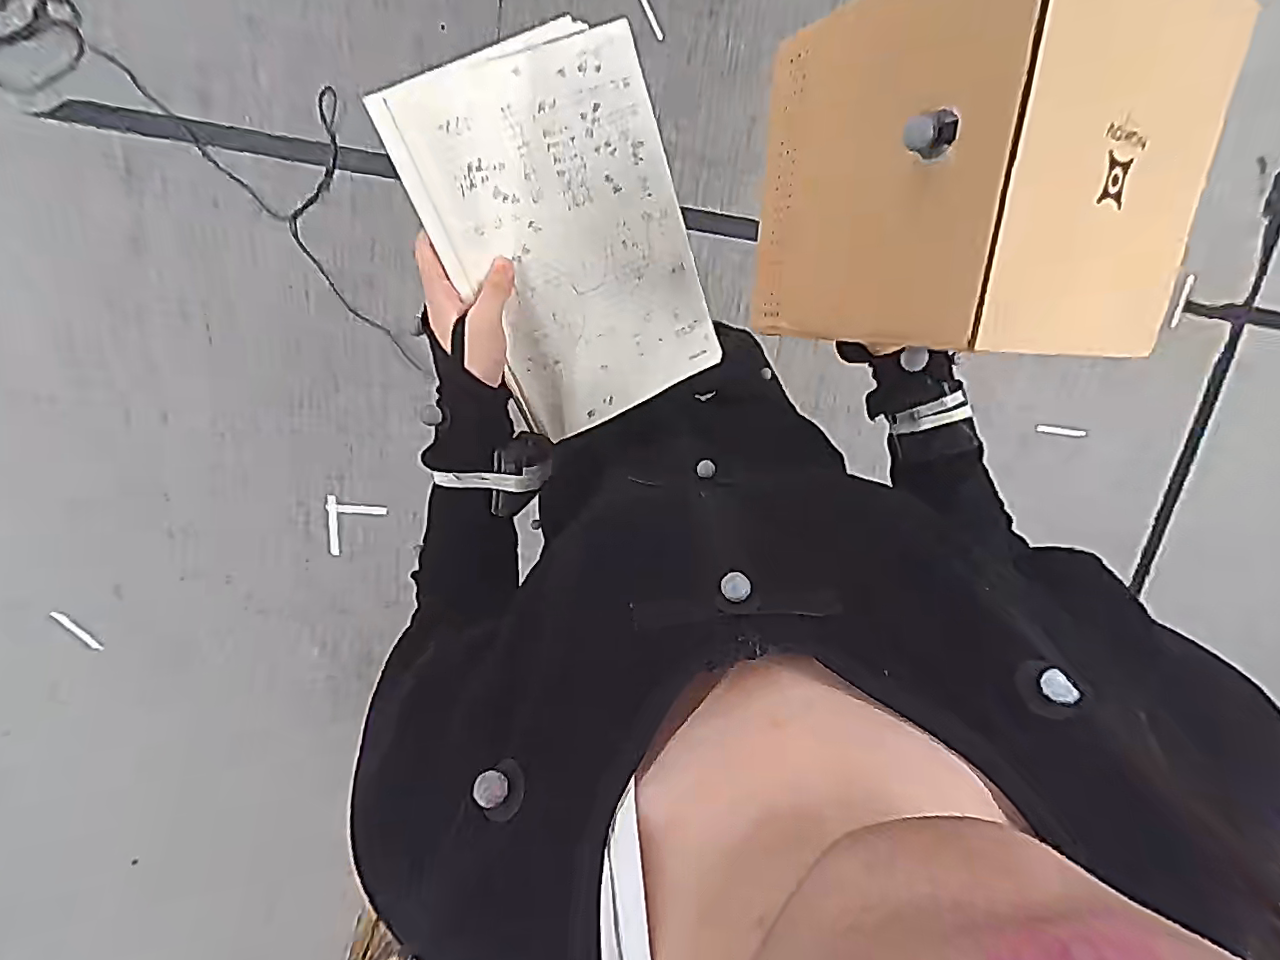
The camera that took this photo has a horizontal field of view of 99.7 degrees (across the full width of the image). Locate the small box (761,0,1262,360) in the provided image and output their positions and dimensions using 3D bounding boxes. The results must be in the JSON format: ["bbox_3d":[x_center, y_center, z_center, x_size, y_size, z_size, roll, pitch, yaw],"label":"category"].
[{"bbox_3d":[0.192,-0.170,0.324,0.168,0.176,0.179,-5,107,-25],"label":"small box"}]

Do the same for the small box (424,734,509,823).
[{"bbox_3d":[-0.414,0.738,1.284,0.168,0.176,0.179,11,105,-7],"label":"small box"}]

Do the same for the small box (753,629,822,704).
[{"bbox_3d":[0.465,0.583,1.609,0.168,0.176,0.179,-38,103,7],"label":"small box"}]

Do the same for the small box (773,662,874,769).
[{"bbox_3d":[0.482,0.618,1.448,0.168,0.176,0.179,-36,105,8],"label":"small box"}]
